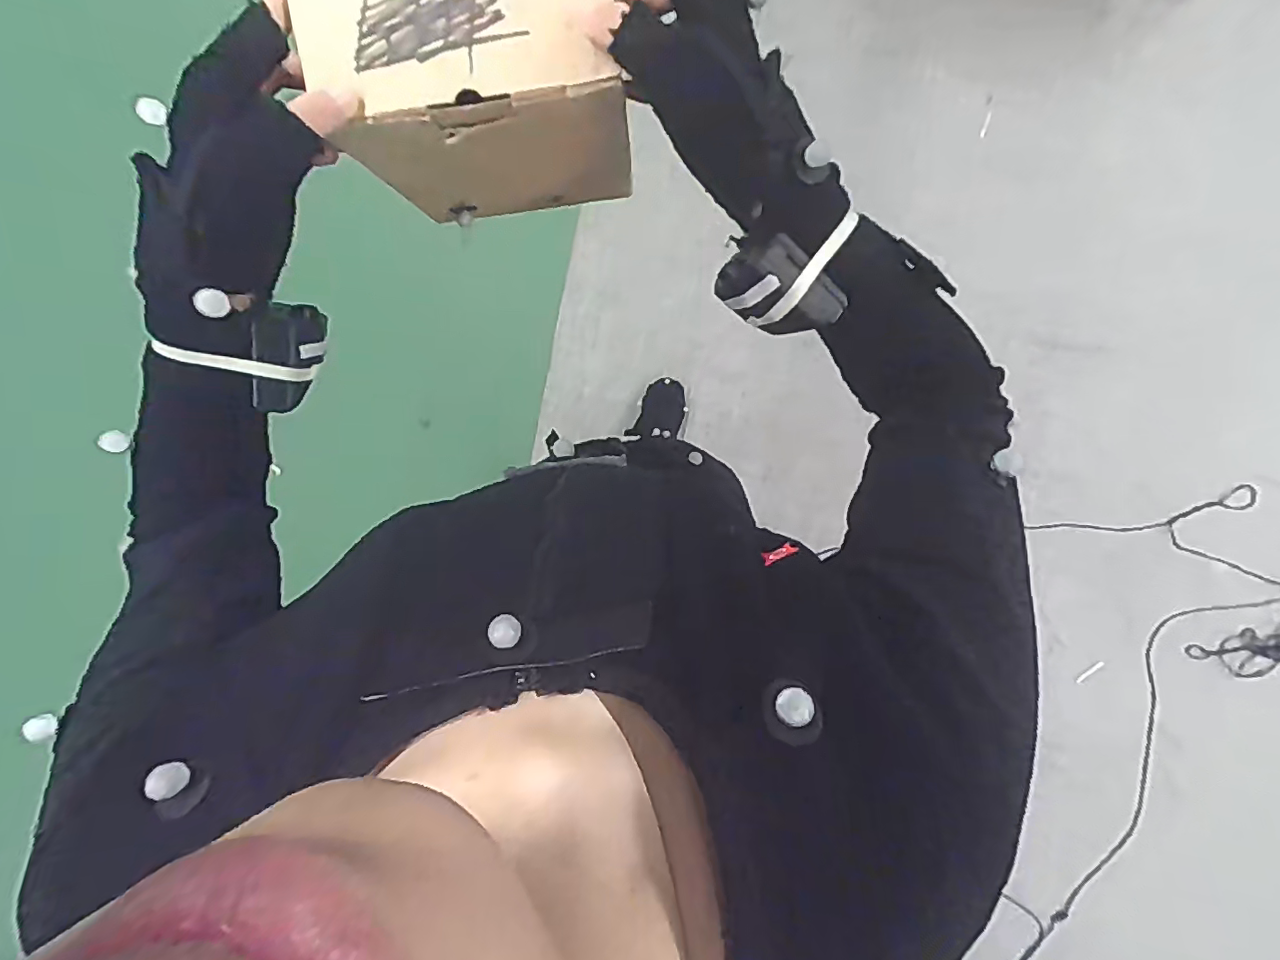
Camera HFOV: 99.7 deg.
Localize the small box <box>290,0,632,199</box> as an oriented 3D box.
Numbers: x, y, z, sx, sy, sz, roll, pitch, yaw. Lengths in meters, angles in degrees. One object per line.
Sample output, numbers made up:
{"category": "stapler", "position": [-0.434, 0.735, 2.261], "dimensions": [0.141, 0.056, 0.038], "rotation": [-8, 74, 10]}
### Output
{"category": "small box", "position": [-0.096, -0.297, 0.341], "dimensions": [0.168, 0.176, 0.179], "rotation": [-7, 99, 2]}
